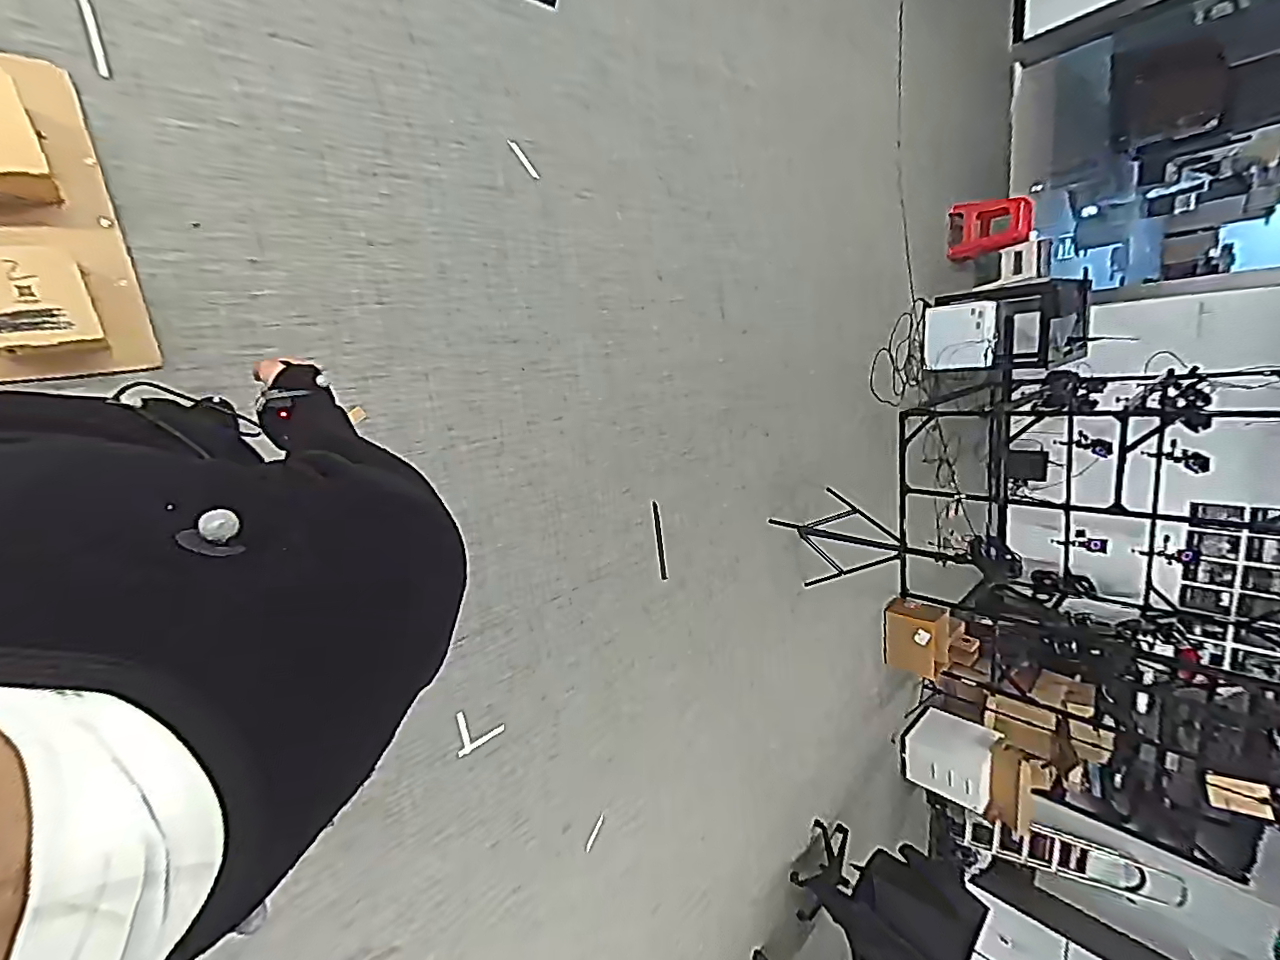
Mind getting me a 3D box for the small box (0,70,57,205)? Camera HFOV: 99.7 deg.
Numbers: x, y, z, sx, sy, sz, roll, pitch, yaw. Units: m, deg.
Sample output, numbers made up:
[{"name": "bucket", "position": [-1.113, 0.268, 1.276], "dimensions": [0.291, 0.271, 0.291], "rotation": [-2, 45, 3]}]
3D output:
[{"name": "small box", "position": [-1.205, -0.614, 0.972], "dimensions": [0.168, 0.176, 0.179], "rotation": [-23, 110, -38]}]
